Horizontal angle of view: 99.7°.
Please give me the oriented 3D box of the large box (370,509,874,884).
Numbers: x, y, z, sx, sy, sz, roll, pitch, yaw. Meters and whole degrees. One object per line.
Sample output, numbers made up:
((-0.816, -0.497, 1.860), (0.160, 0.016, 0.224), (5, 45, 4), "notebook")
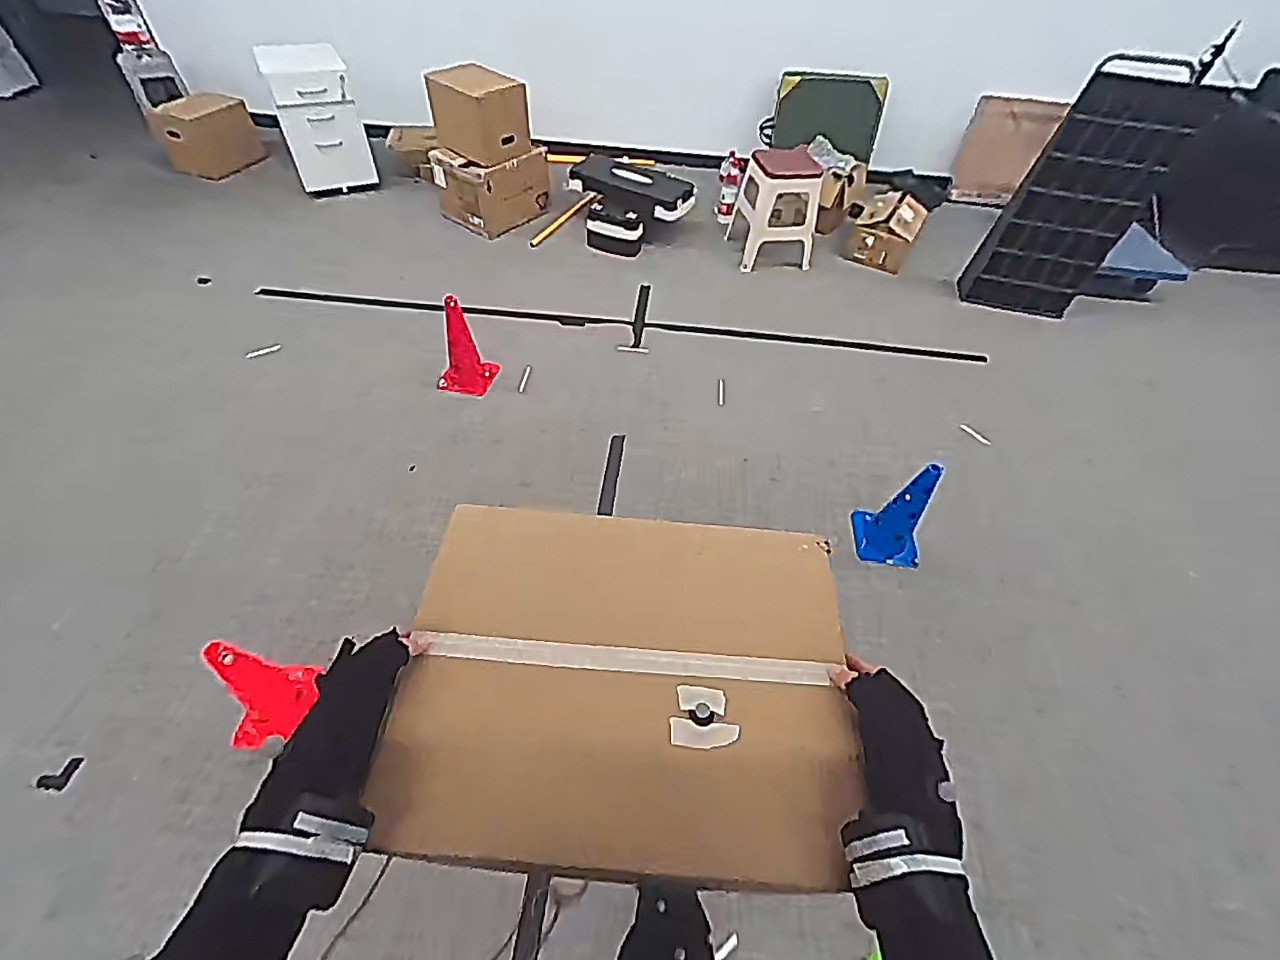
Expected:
((-0.015, 0.258, 0.625), (0.408, 0.320, 0.320), (5, 52, 0), "large box")

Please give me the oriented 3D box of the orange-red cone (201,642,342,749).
((-0.864, 0.454, 1.217), (0.198, 0.360, 0.199), (4, 51, 0), "orange-red cone")

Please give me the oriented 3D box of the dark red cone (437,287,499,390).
((-0.670, -0.540, 2.033), (0.201, 0.394, 0.202), (11, 50, 4), "dark red cone")

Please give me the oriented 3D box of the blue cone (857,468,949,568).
((0.831, 0.095, 1.665), (0.192, 0.380, 0.193), (9, 50, 2), "blue cone")
